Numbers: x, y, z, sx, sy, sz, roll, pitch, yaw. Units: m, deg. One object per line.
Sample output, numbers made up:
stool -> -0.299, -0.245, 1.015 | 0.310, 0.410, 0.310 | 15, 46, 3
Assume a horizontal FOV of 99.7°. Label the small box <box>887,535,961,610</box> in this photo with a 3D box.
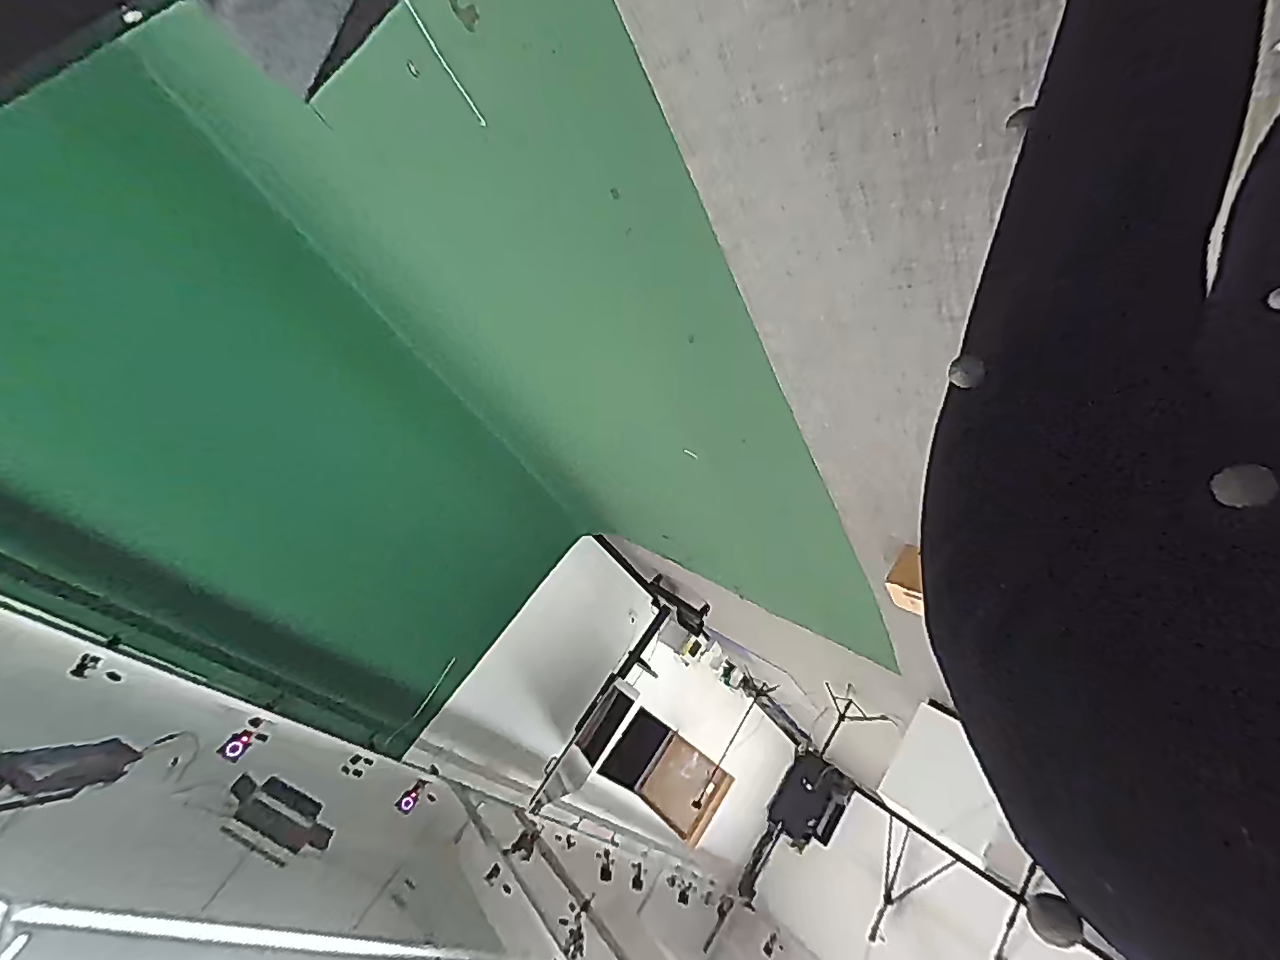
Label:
small box -> 1.006, 0.320, 1.907 | 0.168, 0.176, 0.179 | 20, 156, 49
